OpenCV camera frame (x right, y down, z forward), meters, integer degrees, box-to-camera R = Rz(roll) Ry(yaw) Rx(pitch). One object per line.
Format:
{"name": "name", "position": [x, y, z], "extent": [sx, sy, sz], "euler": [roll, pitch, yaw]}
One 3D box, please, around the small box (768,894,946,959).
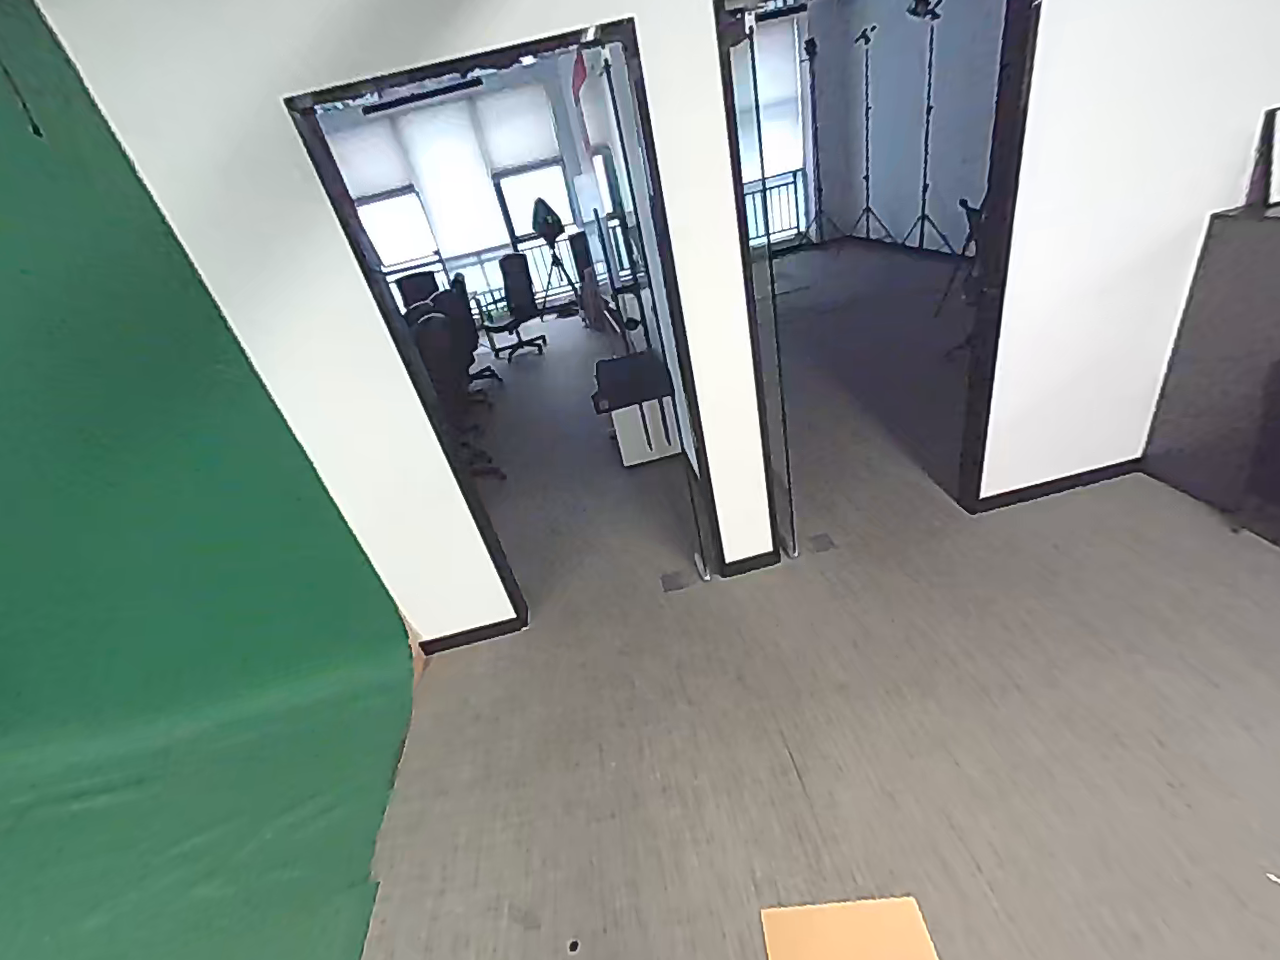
{"name": "small box", "position": [0.228, 0.559, 0.537], "extent": [0.168, 0.176, 0.179], "euler": [-9, 26, 5]}
